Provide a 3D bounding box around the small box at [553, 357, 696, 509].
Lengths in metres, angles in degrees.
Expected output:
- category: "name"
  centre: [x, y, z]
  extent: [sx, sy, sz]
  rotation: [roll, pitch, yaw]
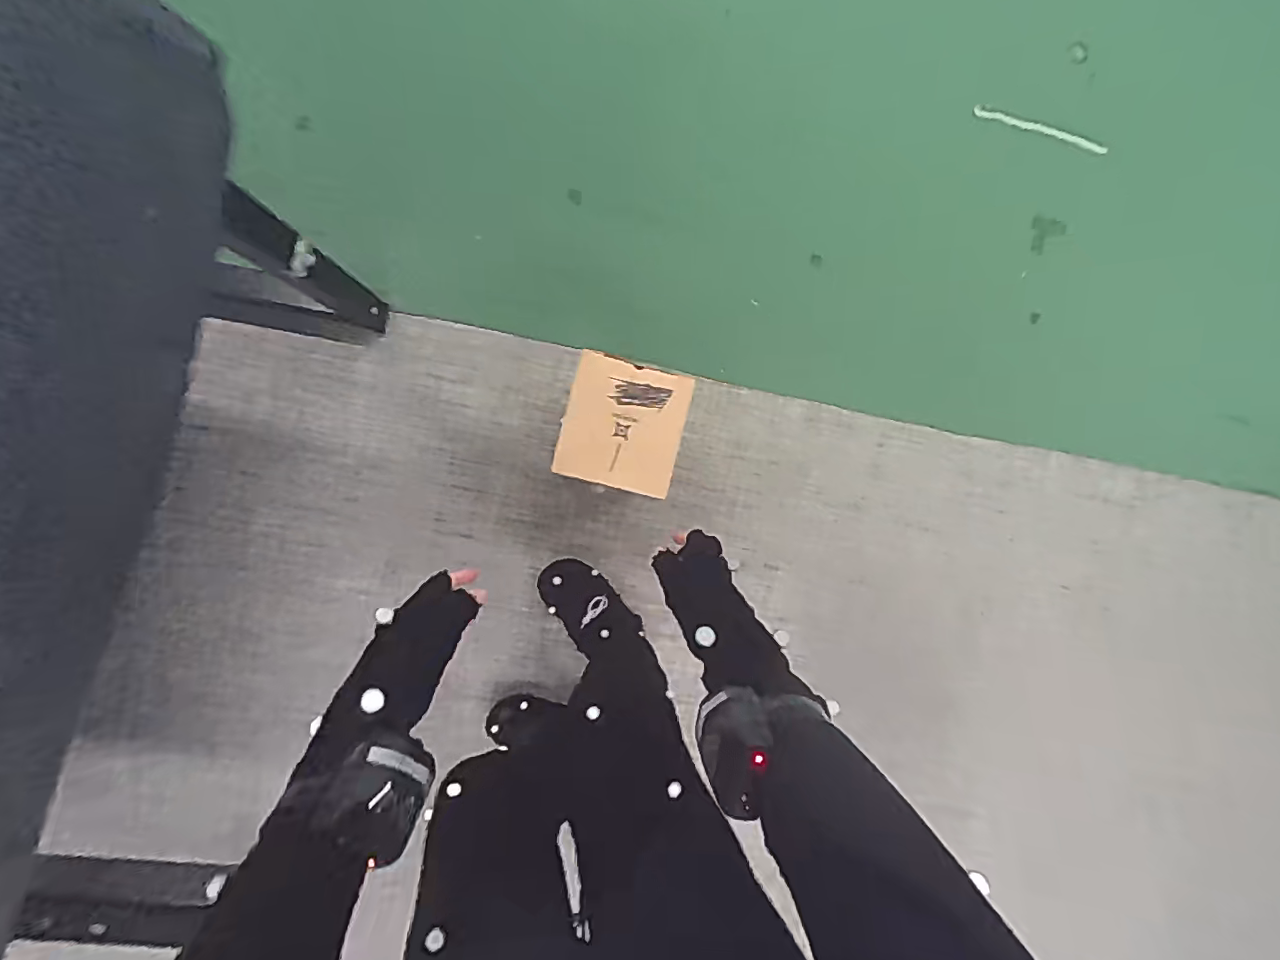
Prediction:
- category: "small box"
  centre: [-0.029, -0.066, 0.824]
  extent: [0.168, 0.176, 0.179]
  rotation: [15, 91, -6]
